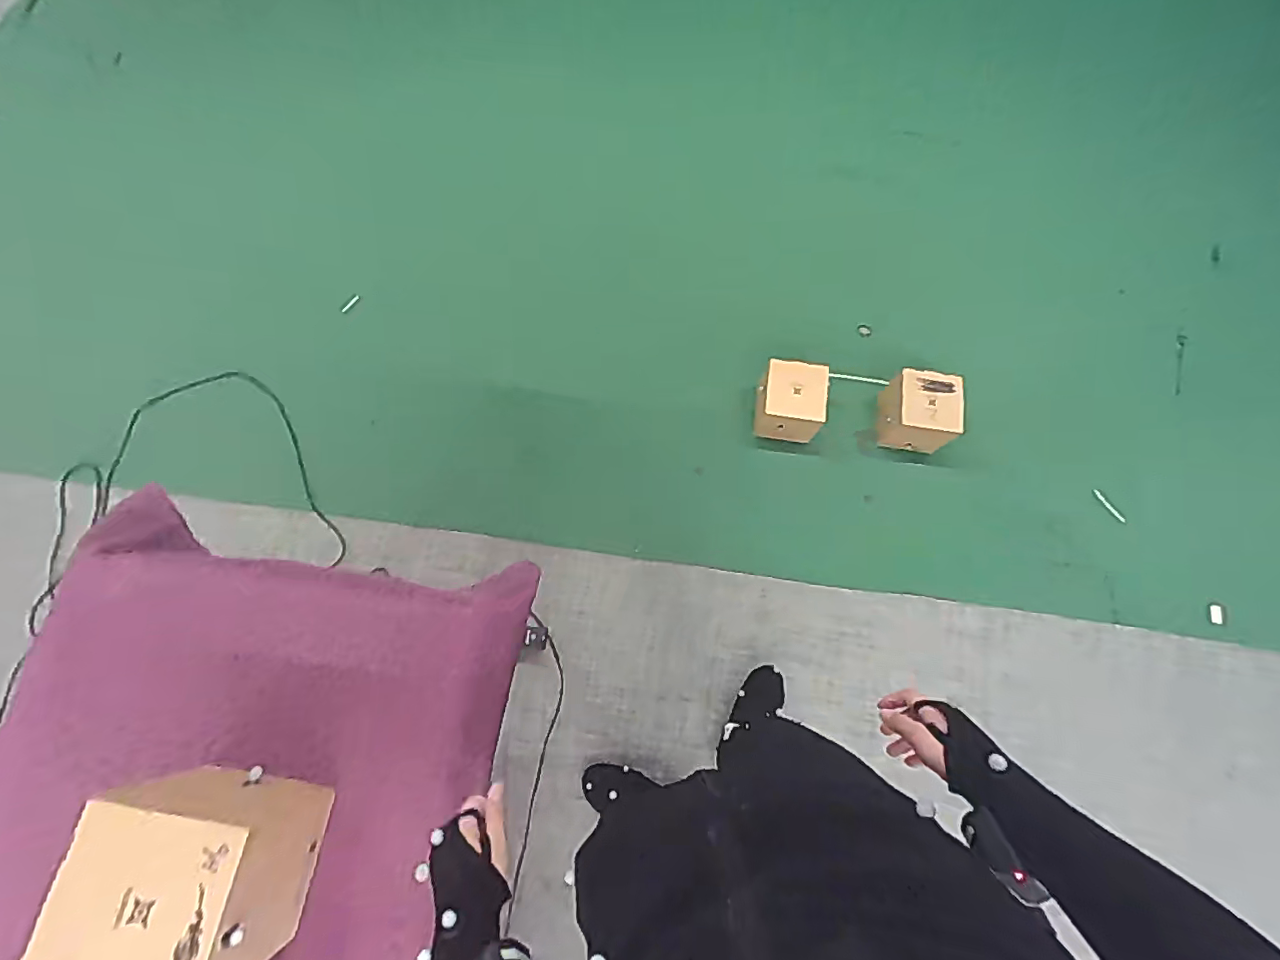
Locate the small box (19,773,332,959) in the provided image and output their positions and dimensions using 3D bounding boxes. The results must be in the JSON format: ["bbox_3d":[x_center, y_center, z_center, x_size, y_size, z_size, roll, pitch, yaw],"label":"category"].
[{"bbox_3d":[-0.488,0.438,0.595,0.179,0.176,0.168,9,73,3],"label":"small box"}]

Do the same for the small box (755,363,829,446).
[{"bbox_3d":[0.435,-0.213,1.567,0.168,0.176,0.179,8,72,3],"label":"small box"}]
